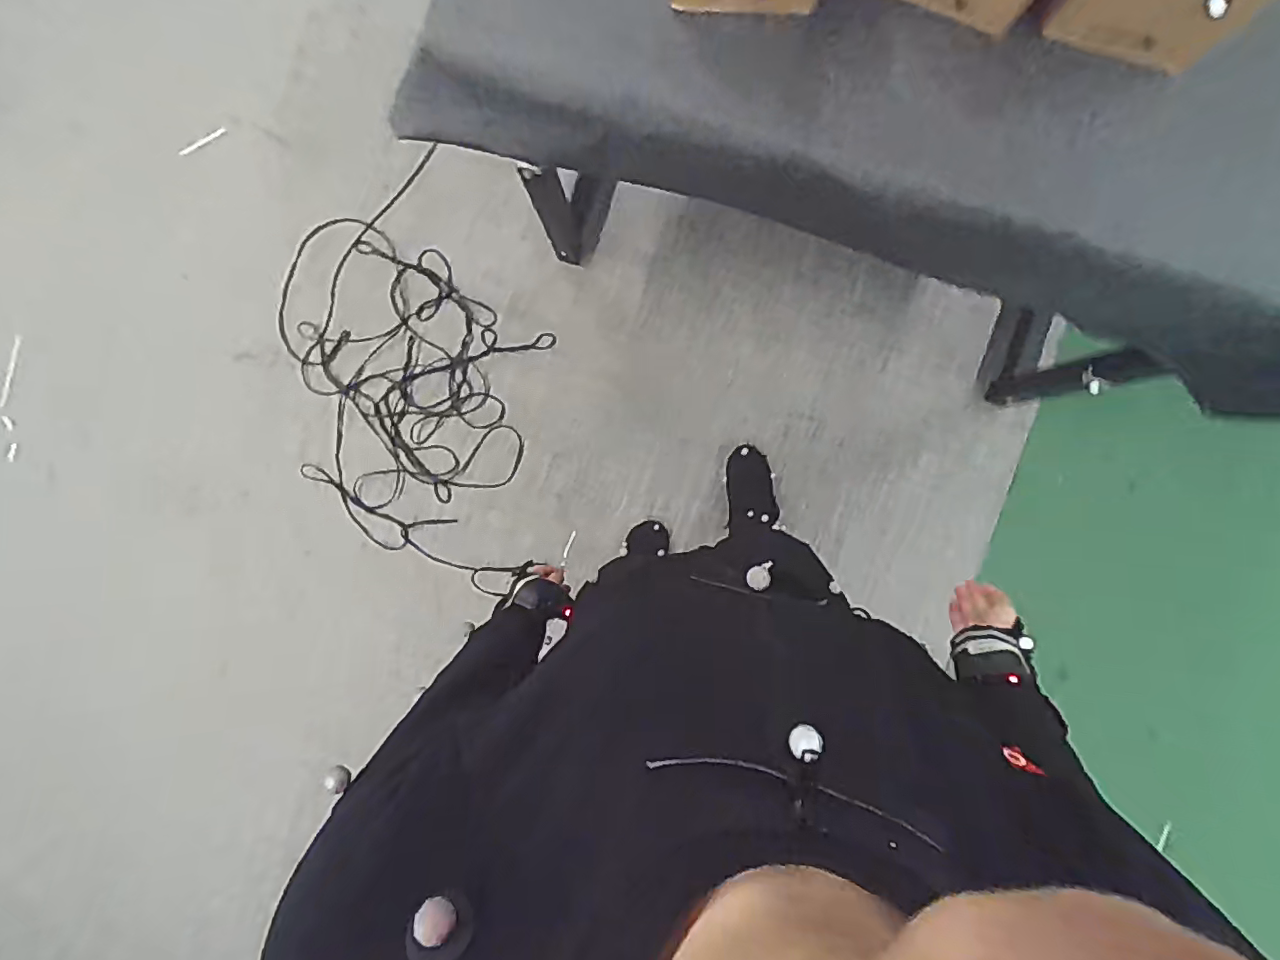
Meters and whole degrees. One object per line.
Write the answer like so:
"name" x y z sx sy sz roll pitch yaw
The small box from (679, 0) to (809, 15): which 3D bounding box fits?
"small box" 0.117 -0.627 0.542 0.168 0.176 0.179 2 91 1
